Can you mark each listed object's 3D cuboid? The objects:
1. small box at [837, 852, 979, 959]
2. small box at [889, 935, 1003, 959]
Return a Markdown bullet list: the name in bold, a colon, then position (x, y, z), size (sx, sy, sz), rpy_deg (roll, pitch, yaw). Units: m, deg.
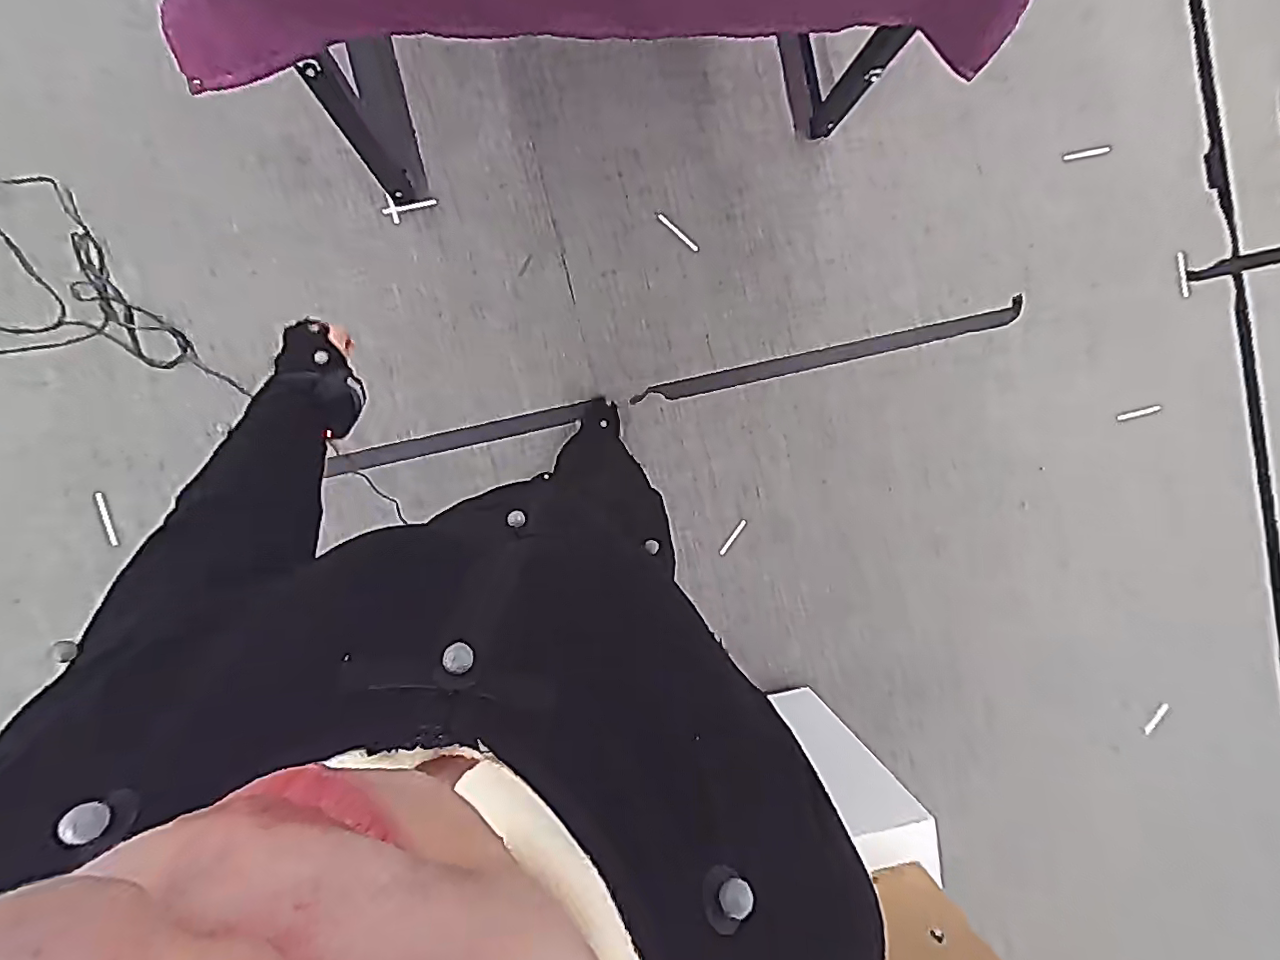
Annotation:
- **small box**: position (0.470, 0.815, 0.960), size (0.168, 0.176, 0.179), rpy_deg (-8, 97, -7)
- **small box**: position (0.491, 0.826, 0.797), size (0.179, 0.176, 0.168), rpy_deg (-8, 95, -6)
